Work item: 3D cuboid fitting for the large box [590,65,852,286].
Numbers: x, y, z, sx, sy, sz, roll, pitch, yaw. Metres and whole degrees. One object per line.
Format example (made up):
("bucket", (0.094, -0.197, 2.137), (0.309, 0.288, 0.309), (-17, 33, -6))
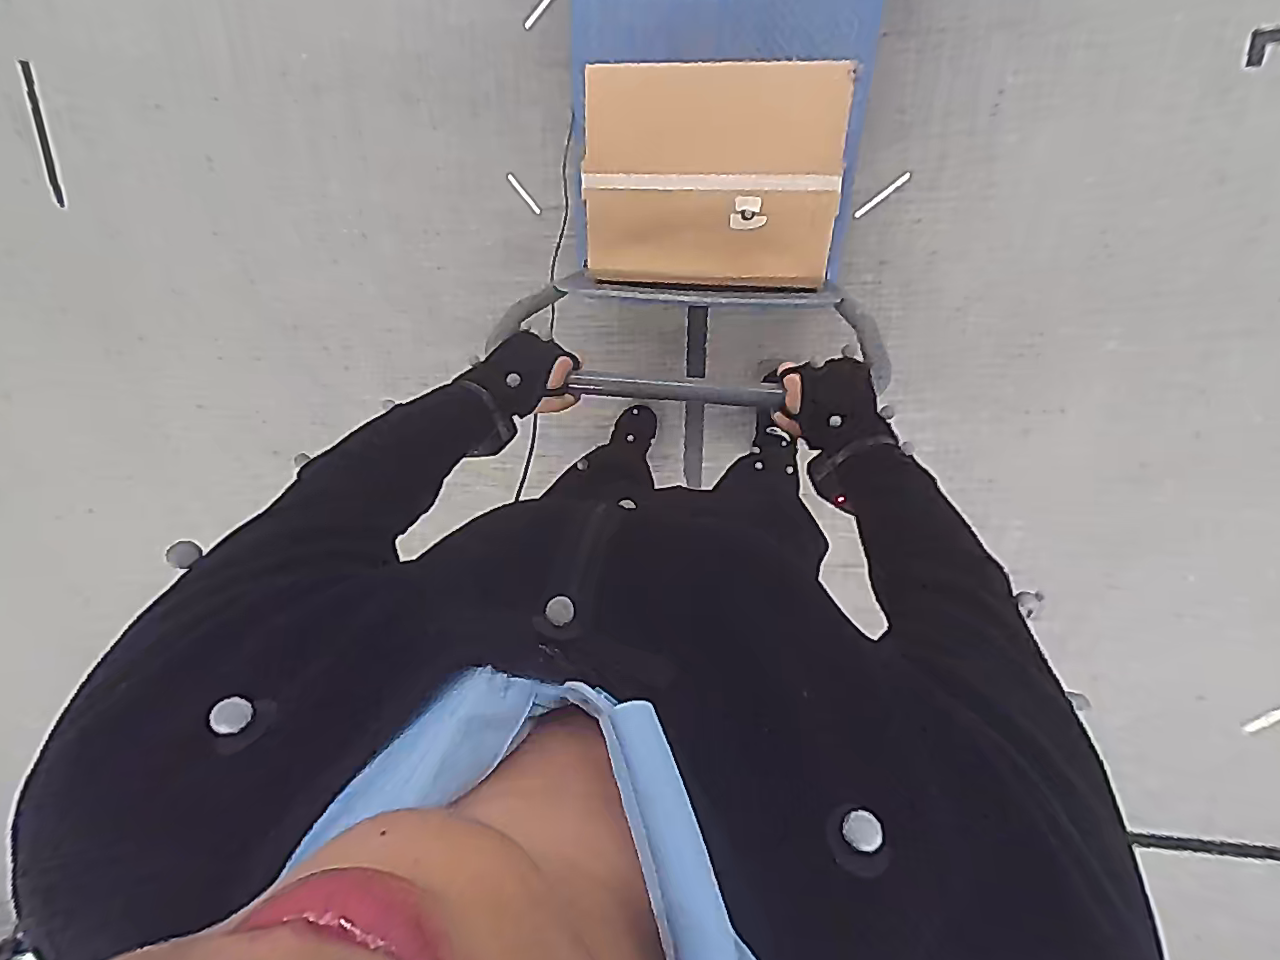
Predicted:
("large box", (0.136, -0.542, 1.017), (0.408, 0.320, 0.320), (4, 115, 7))
